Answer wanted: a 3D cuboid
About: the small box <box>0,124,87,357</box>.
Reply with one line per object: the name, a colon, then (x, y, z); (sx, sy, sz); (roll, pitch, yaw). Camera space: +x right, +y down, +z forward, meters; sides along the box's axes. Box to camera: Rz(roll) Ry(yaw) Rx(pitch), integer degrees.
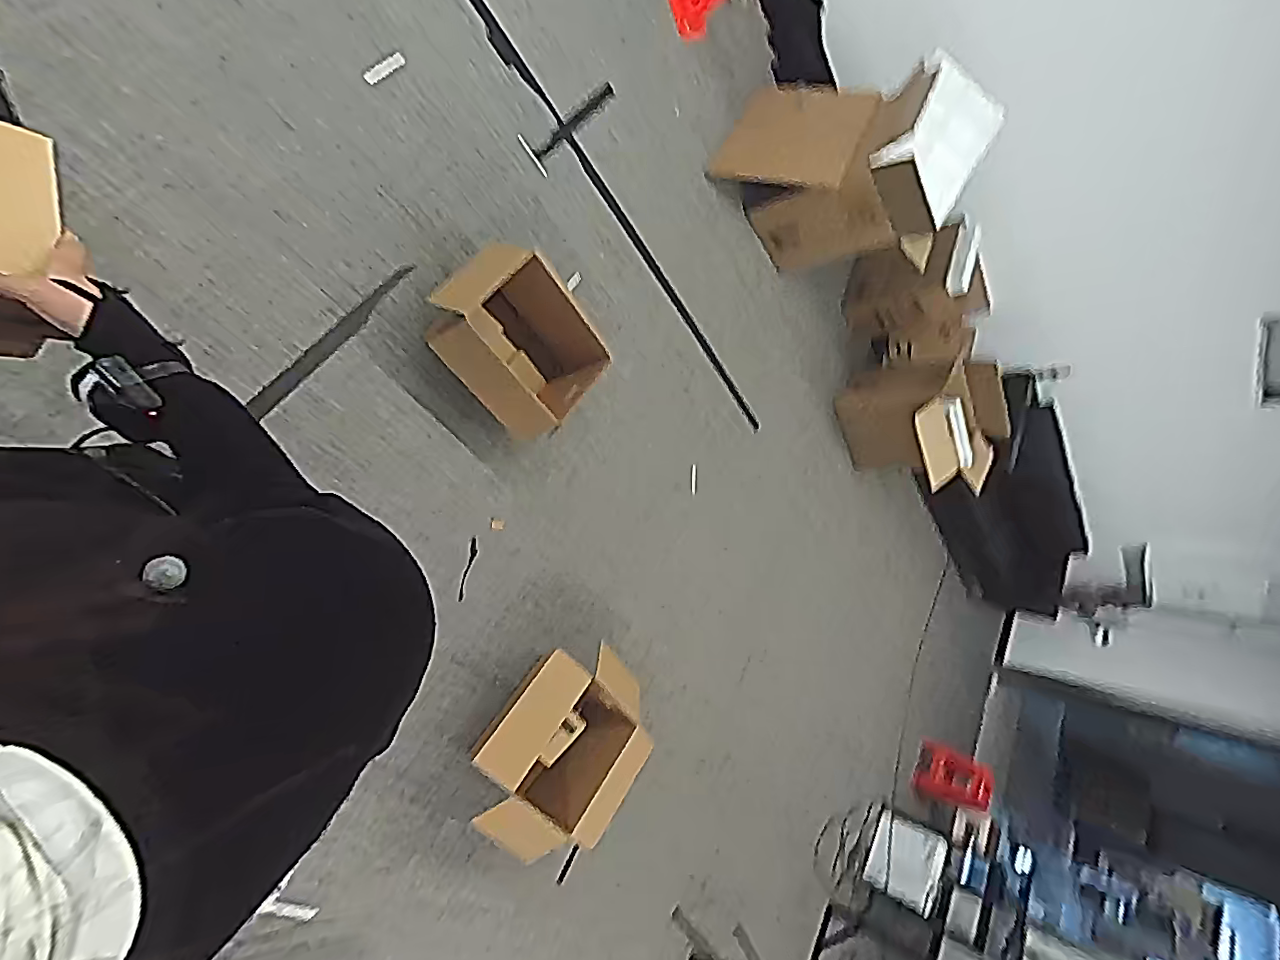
small box: (-0.639, -0.218, 0.479); (0.179, 0.176, 0.168); (-5, 85, -55)
